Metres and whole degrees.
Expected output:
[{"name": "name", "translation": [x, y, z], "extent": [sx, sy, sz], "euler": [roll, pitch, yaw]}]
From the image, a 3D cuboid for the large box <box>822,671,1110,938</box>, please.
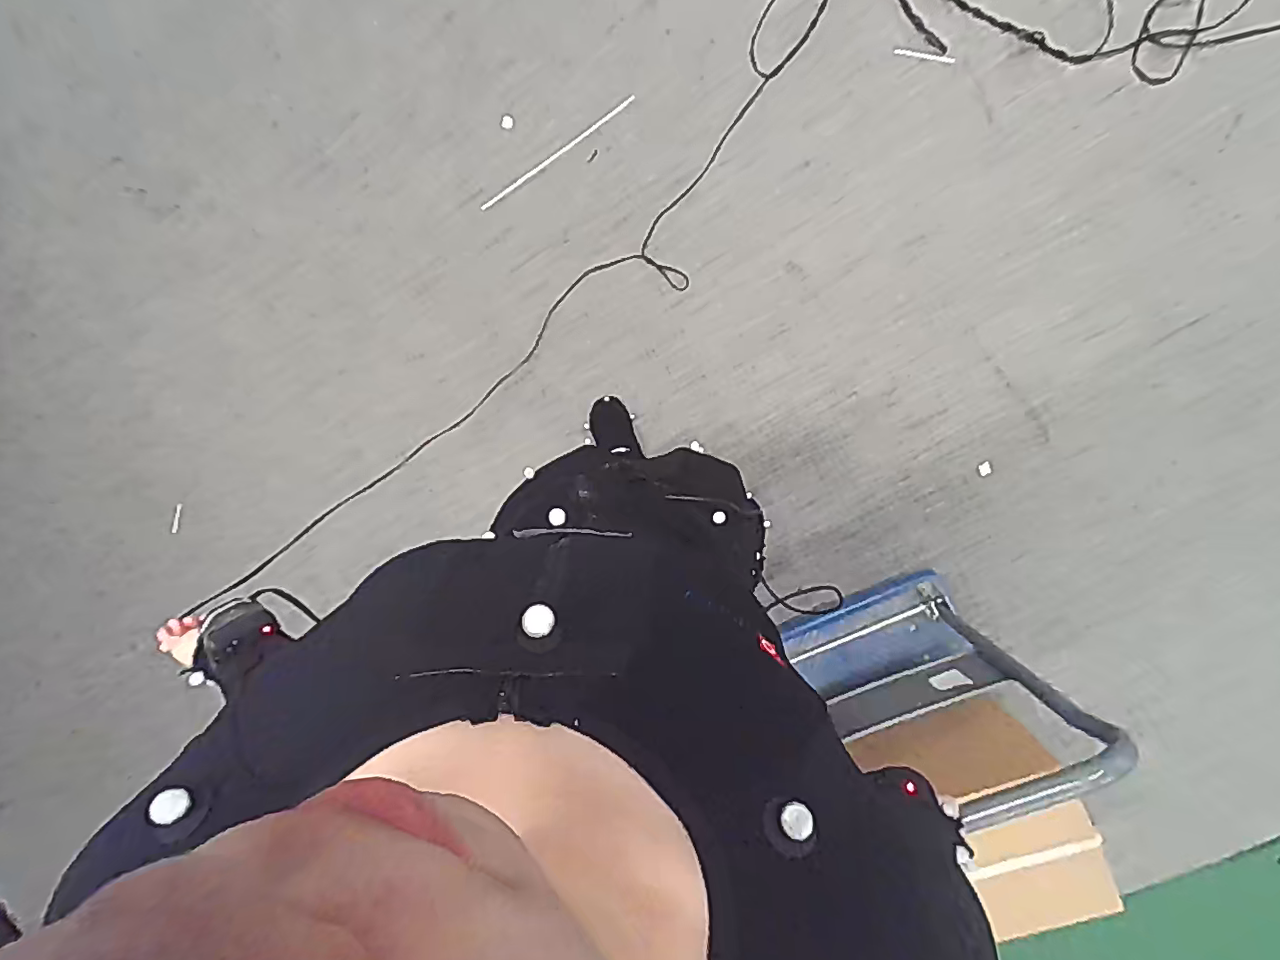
[{"name": "large box", "translation": [0.676, 0.689, 1.193], "extent": [0.408, 0.320, 0.320], "euler": [-24, 93, 10]}]
